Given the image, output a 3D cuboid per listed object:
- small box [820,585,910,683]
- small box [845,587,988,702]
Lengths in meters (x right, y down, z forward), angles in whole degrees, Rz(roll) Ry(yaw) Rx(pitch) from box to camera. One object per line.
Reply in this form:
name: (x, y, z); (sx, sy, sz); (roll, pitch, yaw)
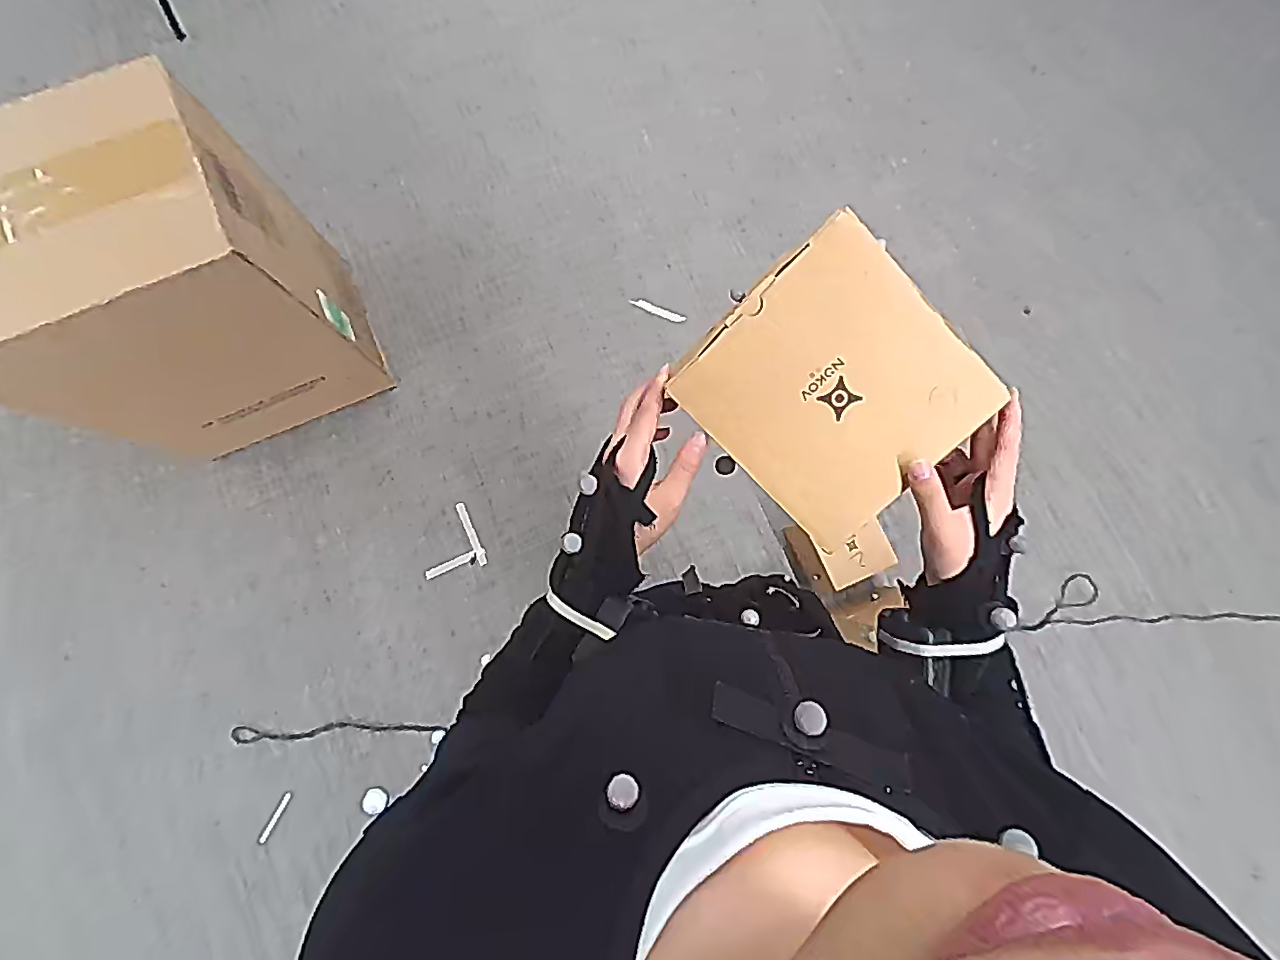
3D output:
small box: (0.563, 0.358, 1.293); (0.179, 0.176, 0.168); (-23, 82, -3)
small box: (0.565, 0.332, 1.130); (0.179, 0.176, 0.168); (-24, 81, -4)
